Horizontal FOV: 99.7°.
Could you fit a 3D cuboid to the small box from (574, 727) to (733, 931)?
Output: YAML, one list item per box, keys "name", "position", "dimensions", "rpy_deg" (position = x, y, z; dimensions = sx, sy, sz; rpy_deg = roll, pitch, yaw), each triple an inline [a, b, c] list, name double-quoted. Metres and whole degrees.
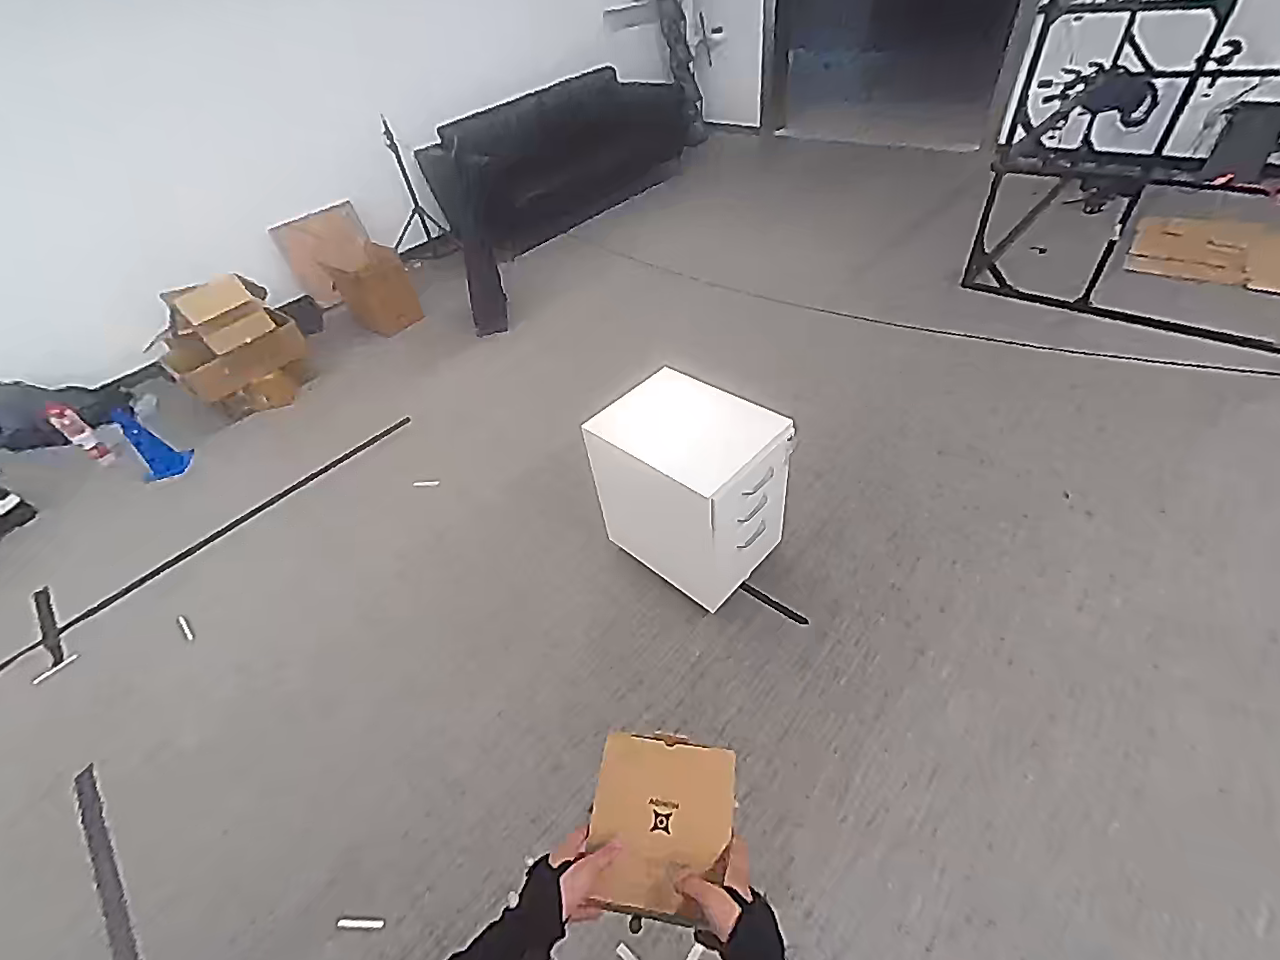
- name: "small box"
  position: [0.021, 0.445, 0.690]
  dimensions: [0.168, 0.176, 0.179]
  rpy_deg: [7, 49, 7]
